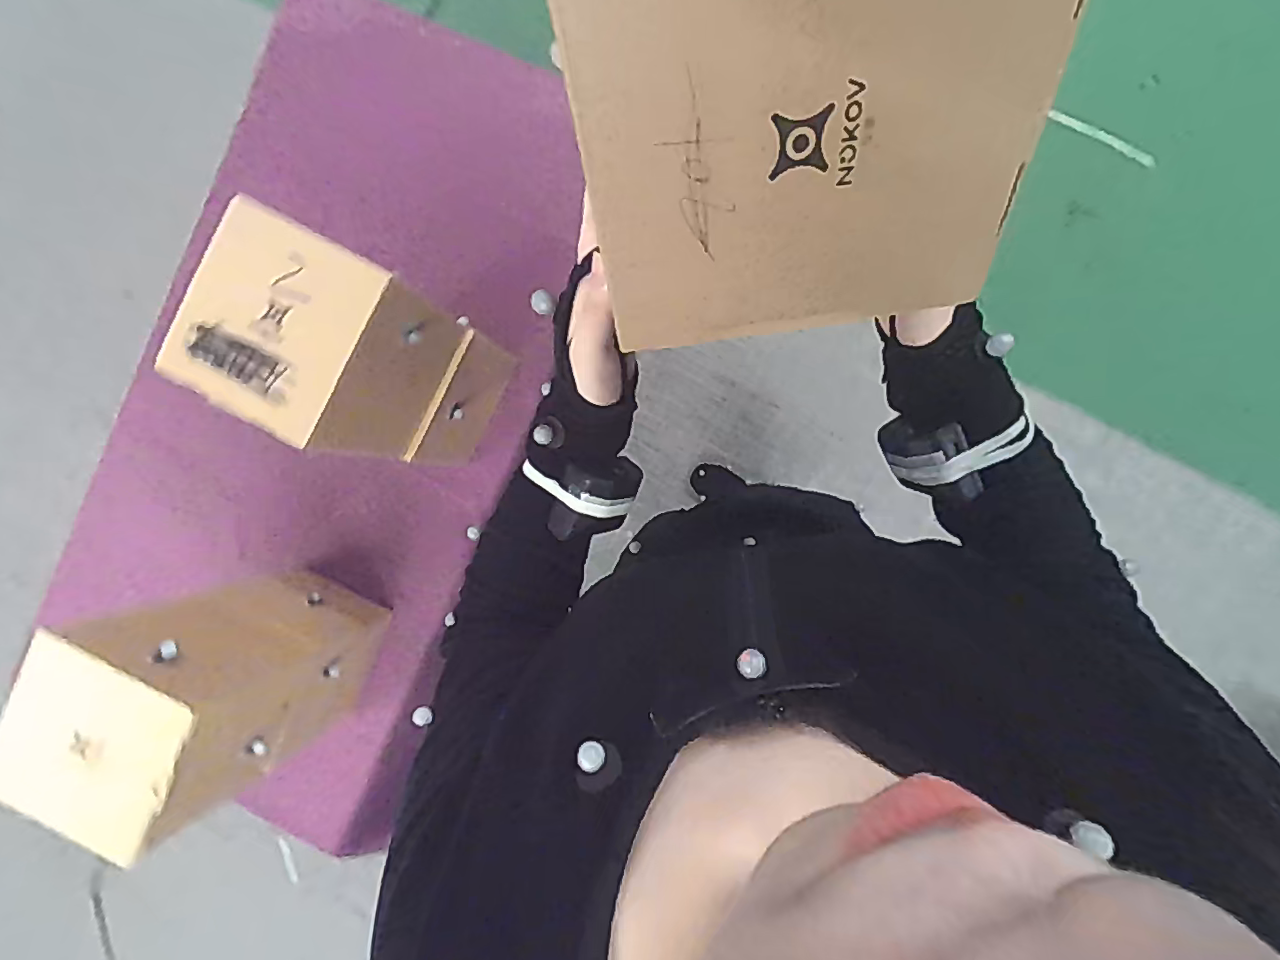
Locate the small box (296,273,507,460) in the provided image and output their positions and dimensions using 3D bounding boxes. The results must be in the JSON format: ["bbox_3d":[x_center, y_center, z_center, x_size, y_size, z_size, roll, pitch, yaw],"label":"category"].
[{"bbox_3d":[-0.302,-0.137,0.724,0.168,0.176,0.179,27,92,4],"label":"small box"}]

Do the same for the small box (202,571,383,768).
[{"bbox_3d":[-0.490,0.243,0.745,0.168,0.176,0.179,24,92,5],"label":"small box"}]

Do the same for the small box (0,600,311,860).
[{"bbox_3d":[-0.509,0.245,0.582,0.179,0.176,0.168,24,92,3],"label":"small box"}]

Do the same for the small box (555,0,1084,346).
[{"bbox_3d":[0.062,-0.189,0.259,0.179,0.168,0.176,-5,49,4],"label":"small box"}]
